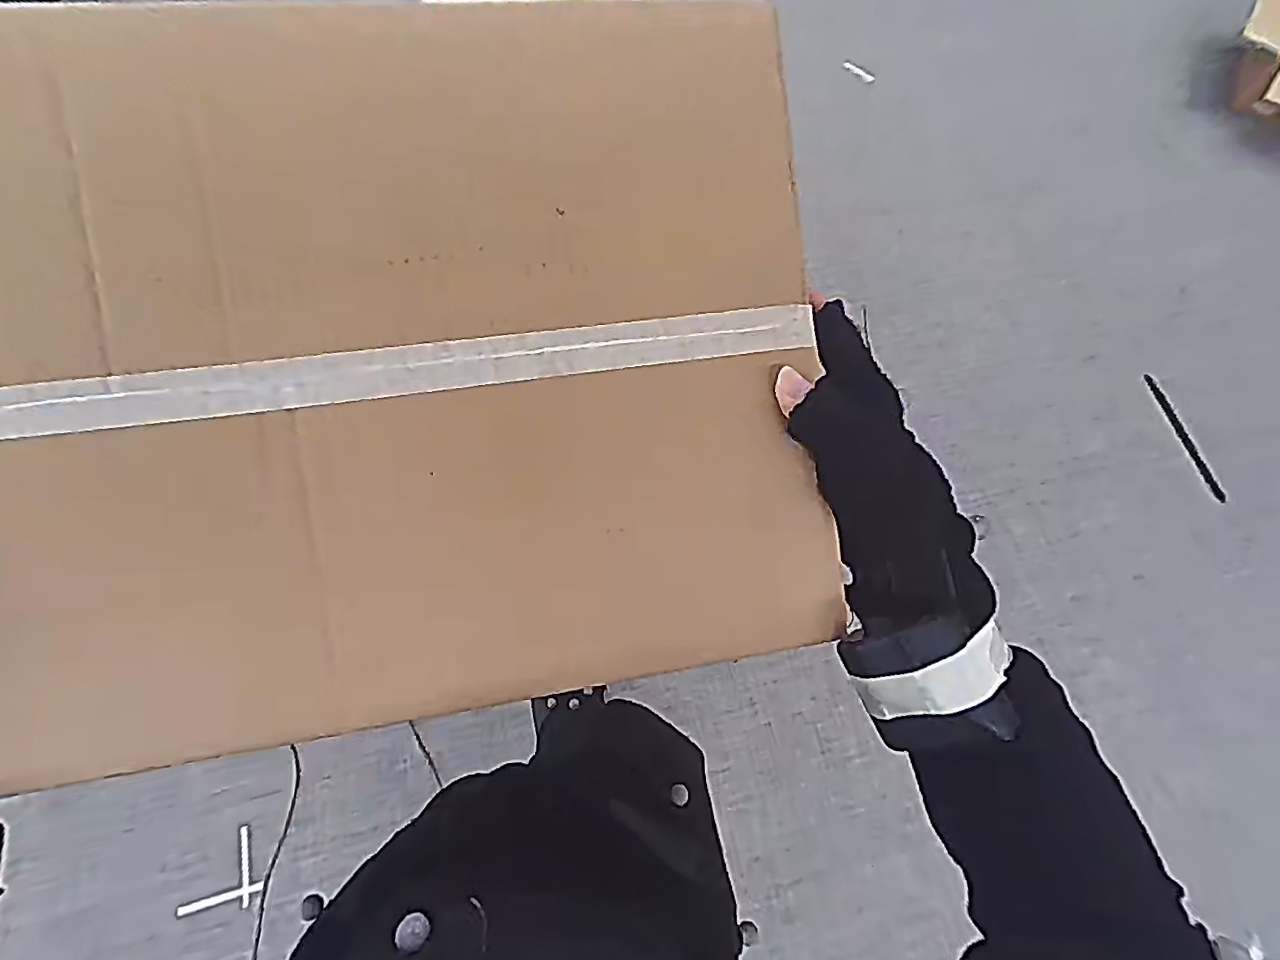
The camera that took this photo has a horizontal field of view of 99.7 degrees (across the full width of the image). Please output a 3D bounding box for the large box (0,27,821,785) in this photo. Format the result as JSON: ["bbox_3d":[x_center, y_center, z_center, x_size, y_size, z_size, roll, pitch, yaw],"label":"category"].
[{"bbox_3d":[-0.136,-0.052,0.397,0.408,0.320,0.320,-8,93,-8],"label":"large box"}]
